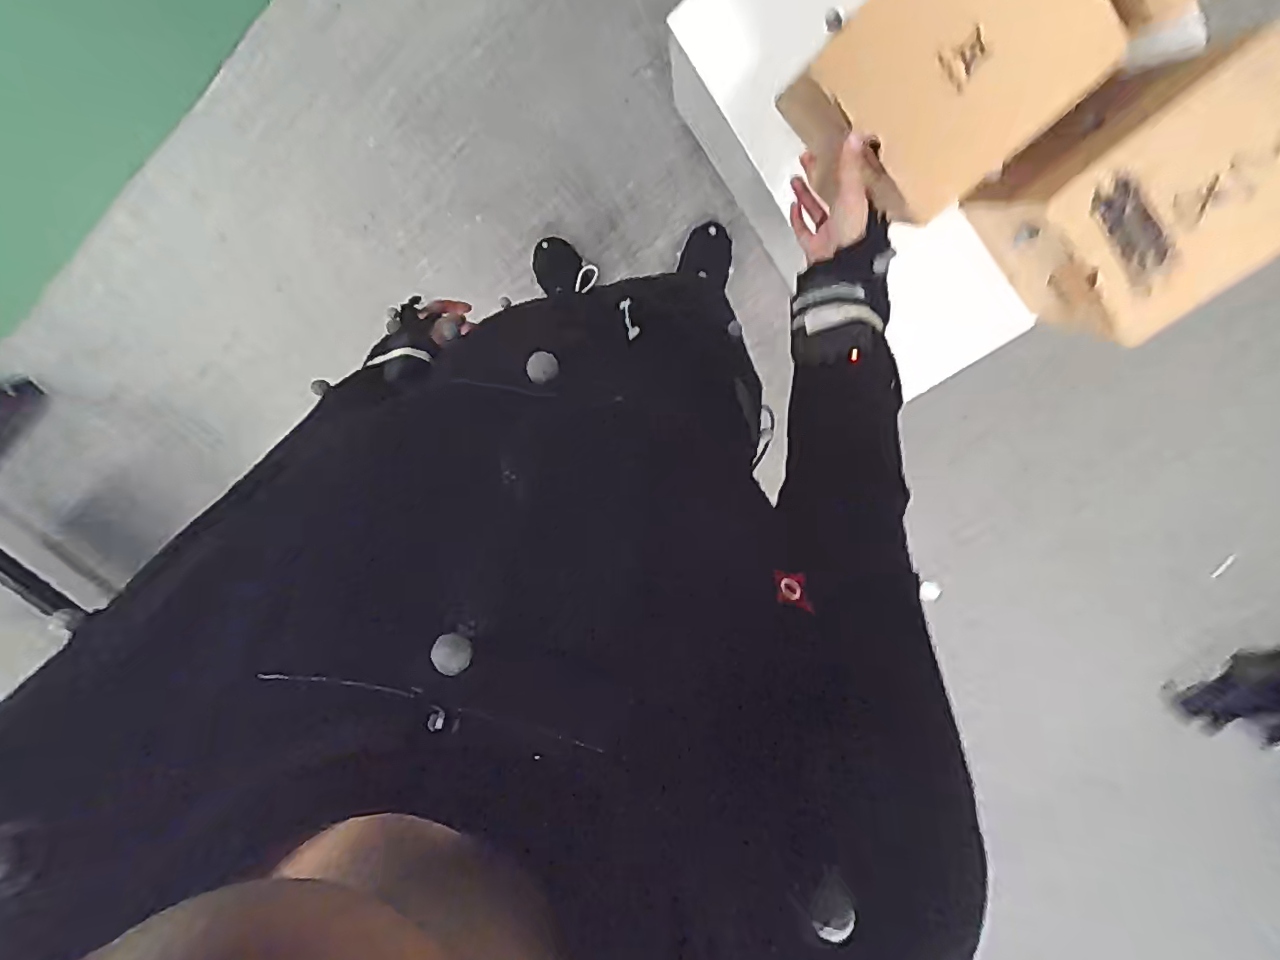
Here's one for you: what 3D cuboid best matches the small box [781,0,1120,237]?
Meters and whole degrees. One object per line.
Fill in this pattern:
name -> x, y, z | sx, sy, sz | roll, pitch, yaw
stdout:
small box -> 0.253, -0.351, 0.487 | 0.179, 0.176, 0.168 | -41, 108, 21
